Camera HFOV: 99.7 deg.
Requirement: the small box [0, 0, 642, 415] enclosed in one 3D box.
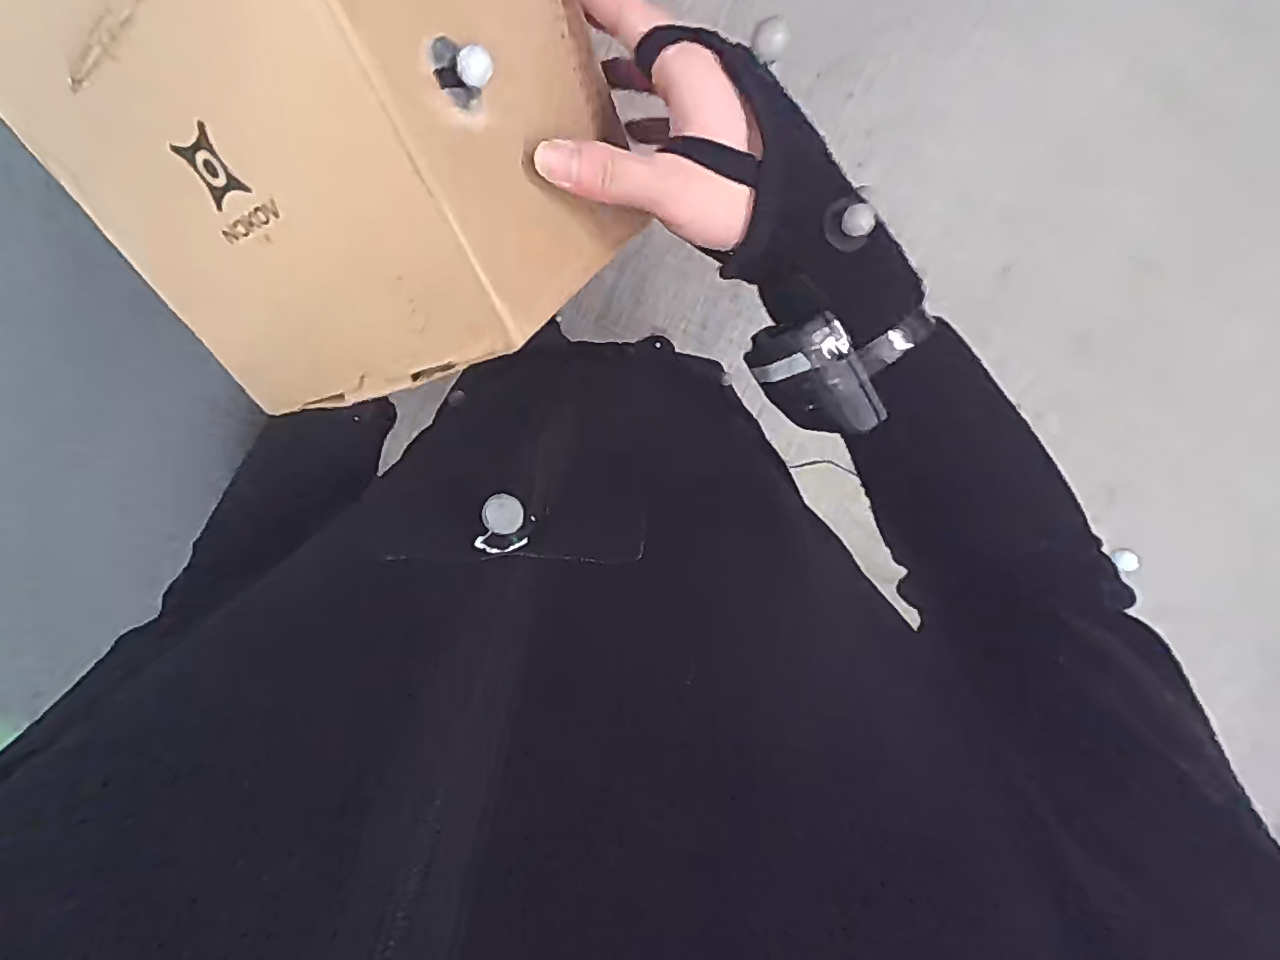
[{"bbox_3d":[-0.119,-0.155,0.247,0.168,0.176,0.179,-6,125,29],"label":"small box"}]
